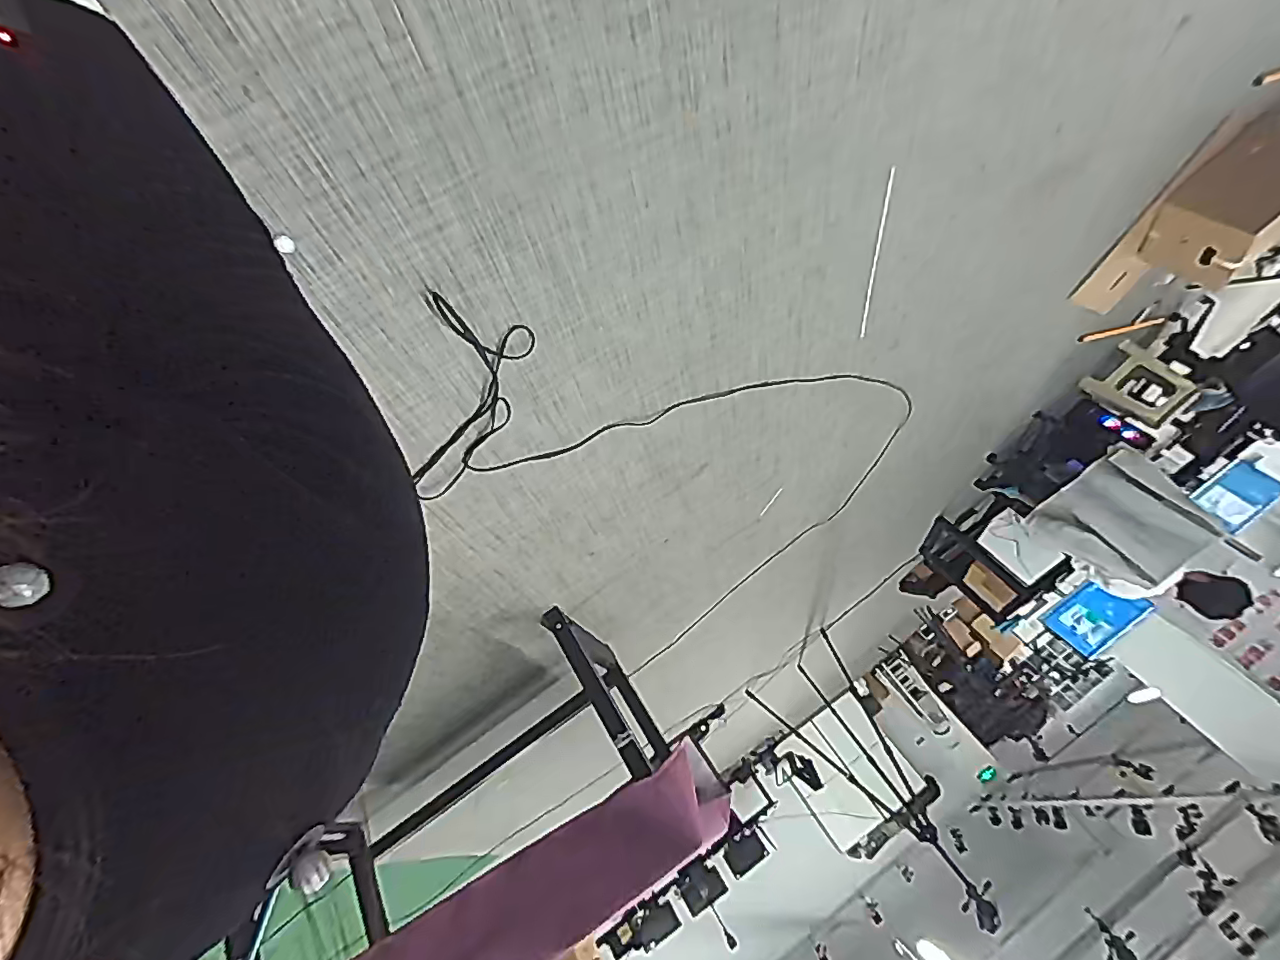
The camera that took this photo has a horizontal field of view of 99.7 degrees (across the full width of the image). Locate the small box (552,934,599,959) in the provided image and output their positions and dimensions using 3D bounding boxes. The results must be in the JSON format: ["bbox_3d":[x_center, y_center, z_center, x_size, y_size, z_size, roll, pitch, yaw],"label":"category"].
[{"bbox_3d":[-0.177,1.247,1.297,0.179,0.176,0.168,-33,149,-8],"label":"small box"}]
